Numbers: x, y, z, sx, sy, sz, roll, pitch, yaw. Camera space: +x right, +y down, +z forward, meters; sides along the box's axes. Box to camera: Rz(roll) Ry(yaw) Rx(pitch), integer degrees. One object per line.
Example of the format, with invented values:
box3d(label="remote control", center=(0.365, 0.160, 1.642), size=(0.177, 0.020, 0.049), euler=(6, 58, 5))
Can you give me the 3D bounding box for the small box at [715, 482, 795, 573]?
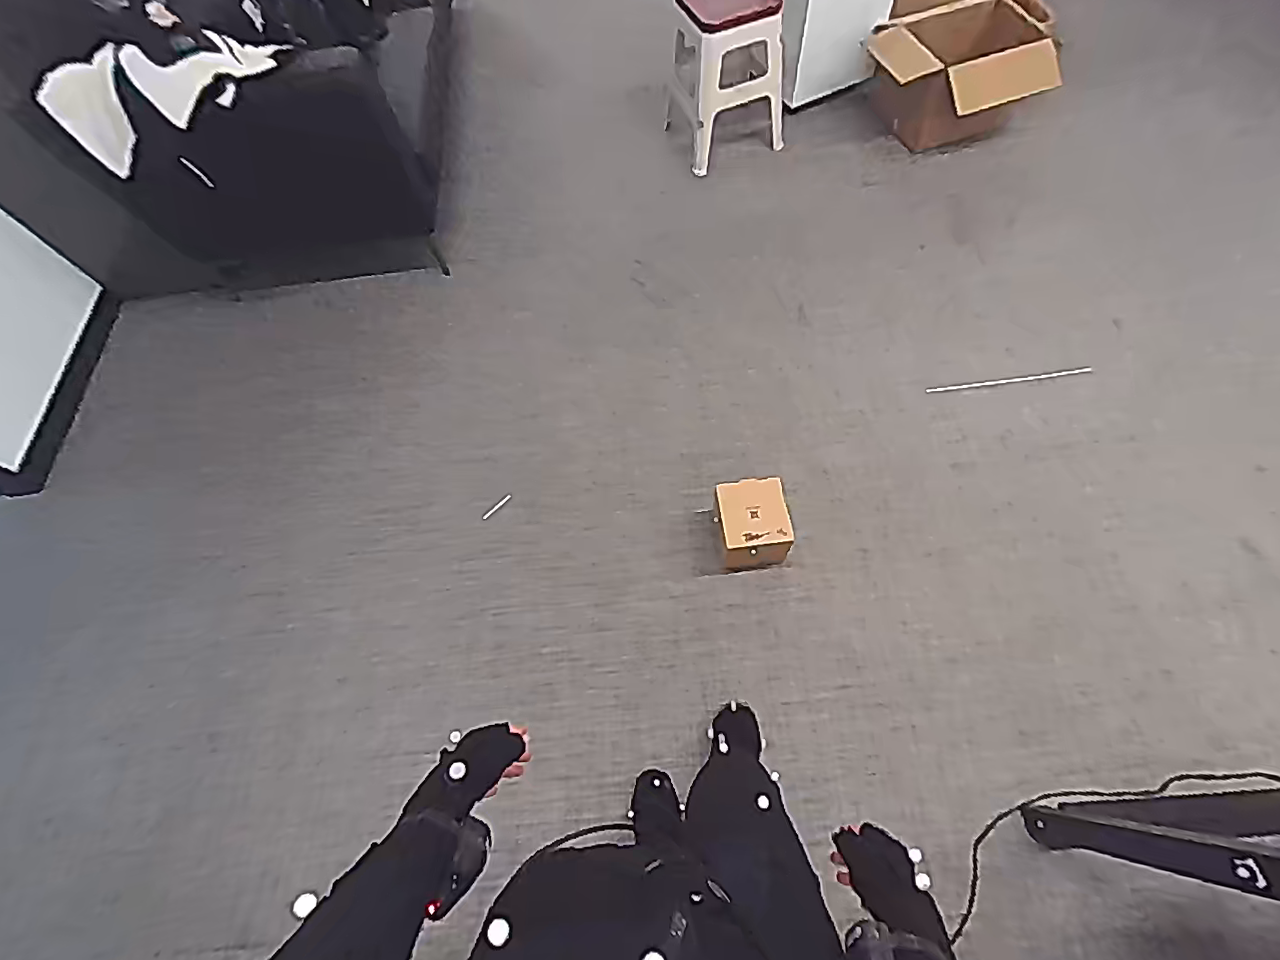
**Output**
box3d(label="small box", center=(0.289, 0.125, 1.403), size=(0.168, 0.176, 0.179), euler=(-7, 62, 2))
